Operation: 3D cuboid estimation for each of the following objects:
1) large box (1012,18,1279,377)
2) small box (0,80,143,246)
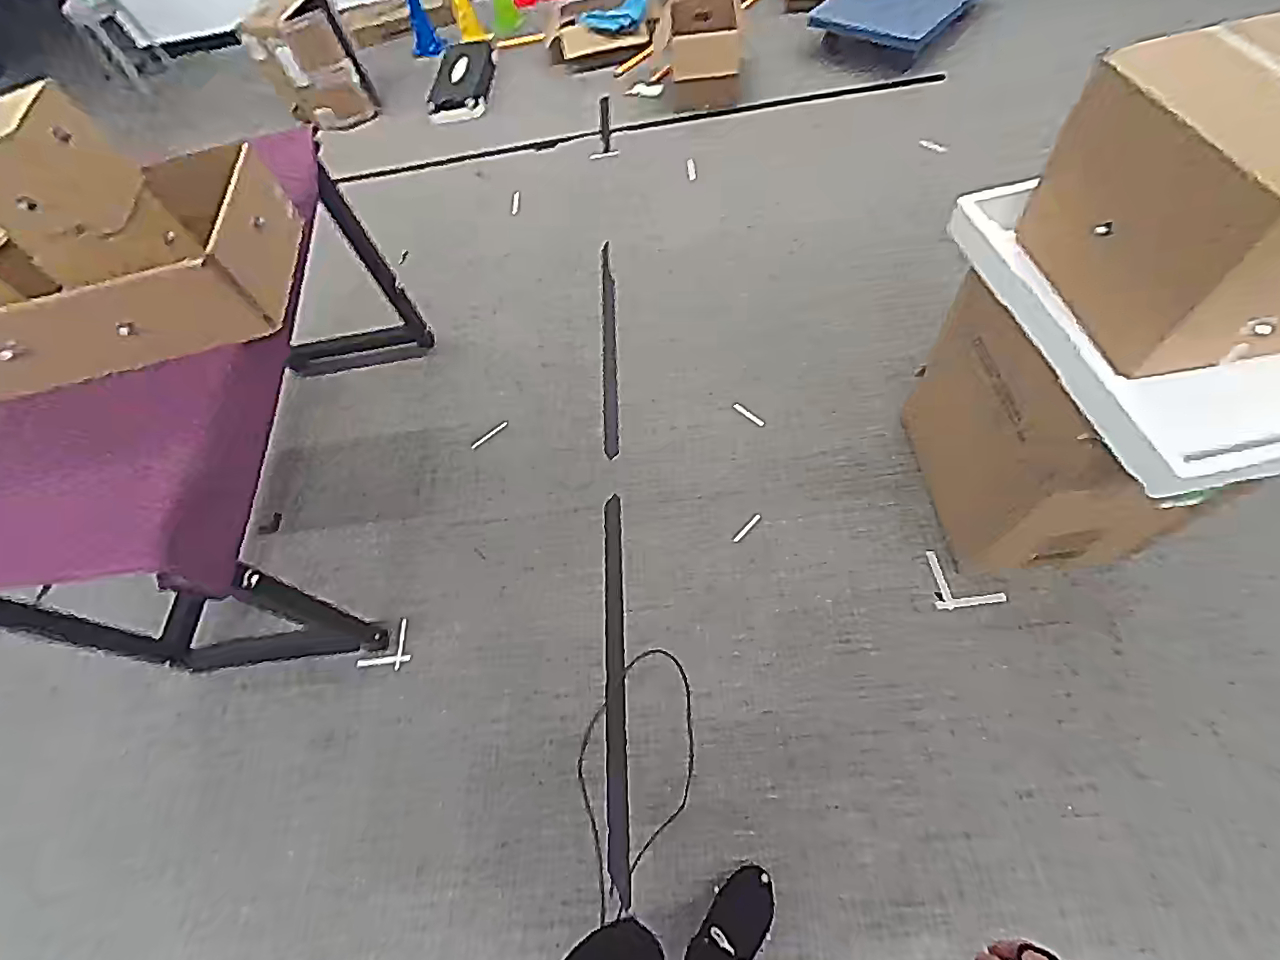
[{"bbox_3d":[0.891,-0.430,0.844,0.320,0.320,0.408,-9,58,2],"label":"large box"},{"bbox_3d":[-1.002,-0.522,0.913,0.168,0.176,0.179,-18,59,0],"label":"small box"}]
